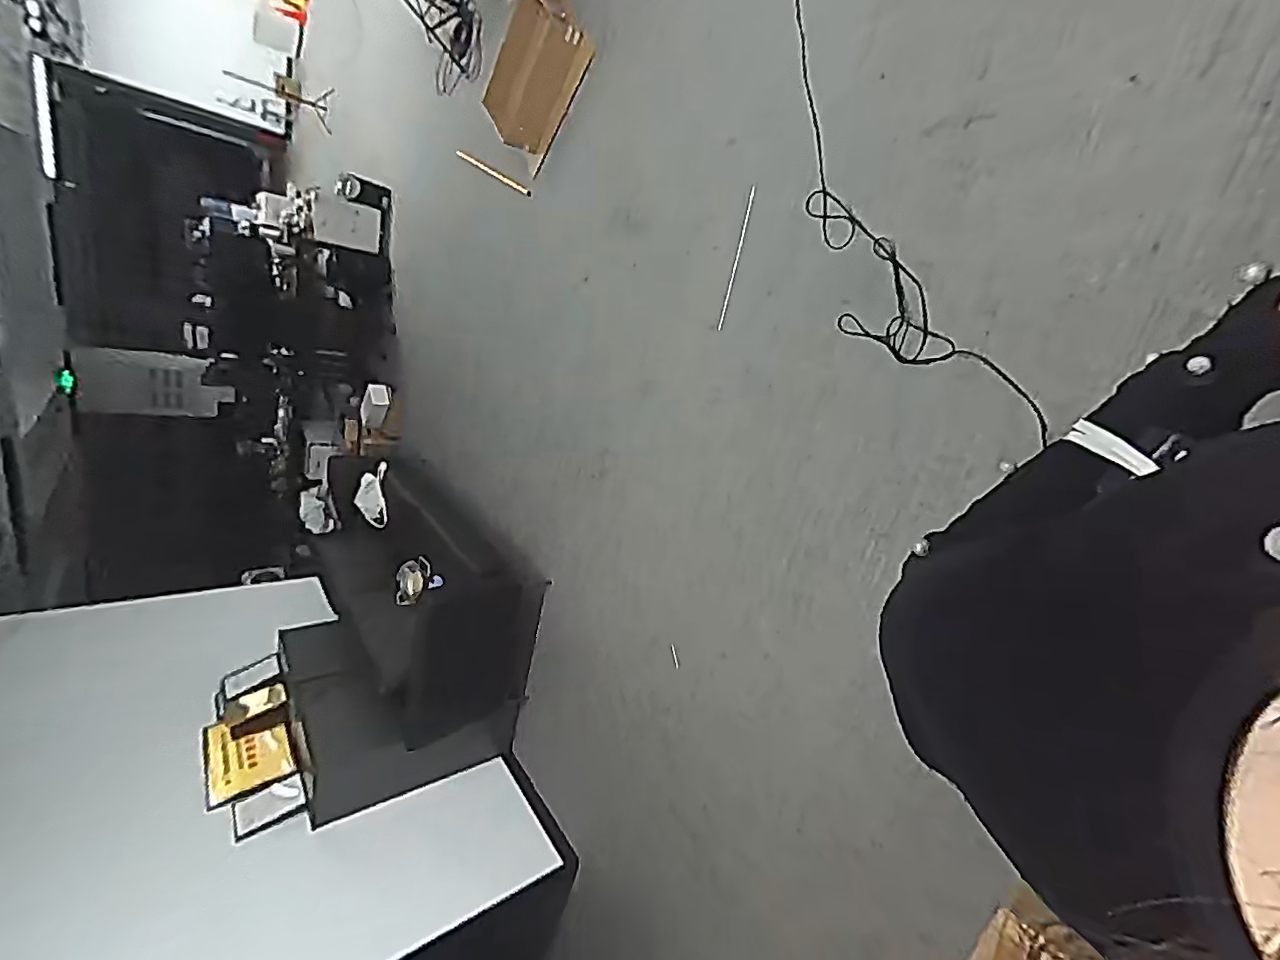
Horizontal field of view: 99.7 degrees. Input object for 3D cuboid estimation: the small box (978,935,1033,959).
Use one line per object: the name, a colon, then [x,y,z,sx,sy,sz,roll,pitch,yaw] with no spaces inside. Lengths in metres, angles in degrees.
small box: [0.604,0.900,0.870,0.168,0.176,0.179,35,119,42]
